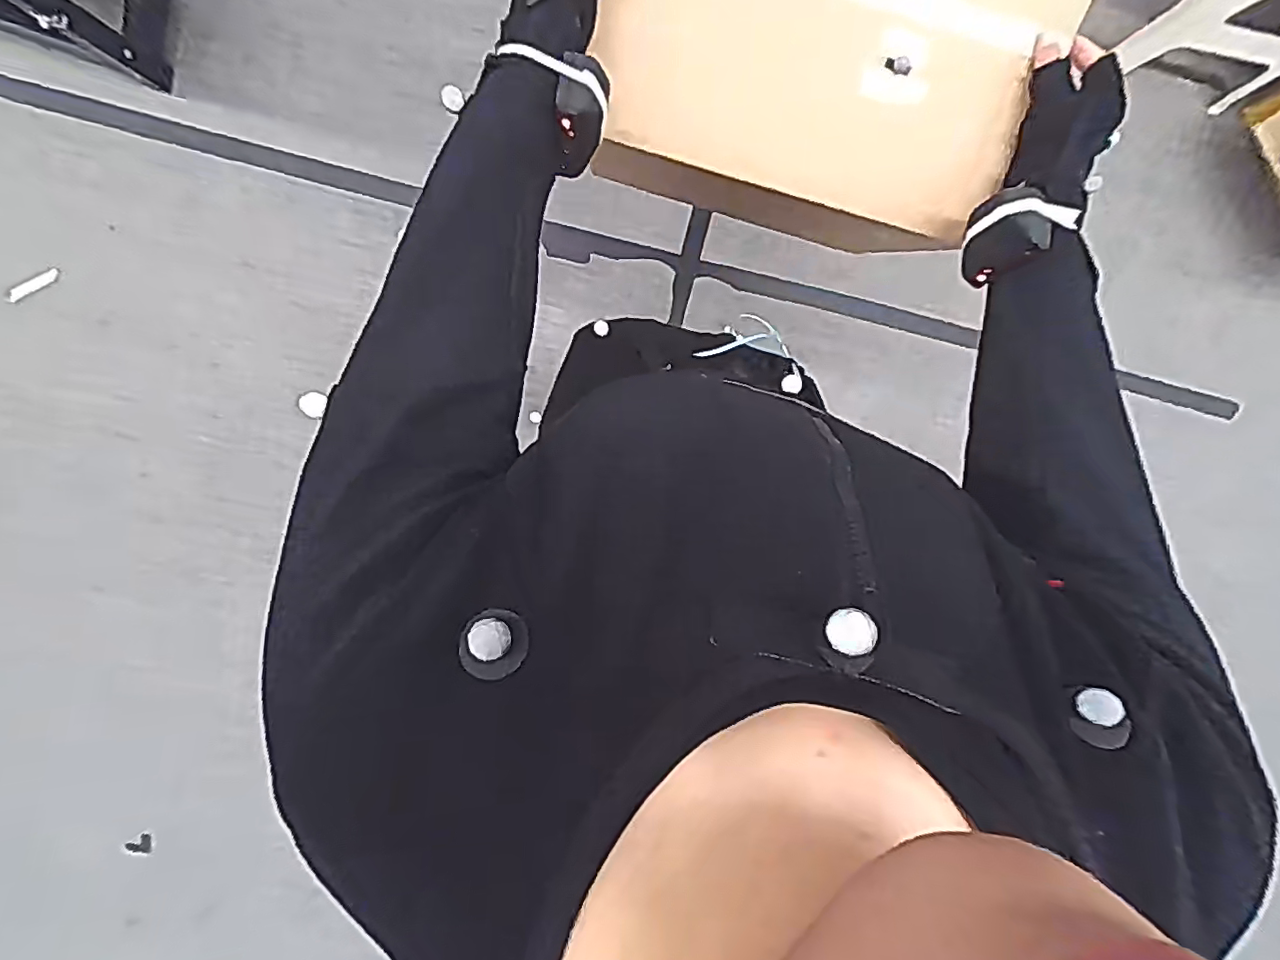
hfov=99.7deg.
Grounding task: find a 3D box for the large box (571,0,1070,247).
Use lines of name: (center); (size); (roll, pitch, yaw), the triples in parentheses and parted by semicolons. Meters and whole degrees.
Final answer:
large box: (0.159, -0.469, 0.592); (0.408, 0.320, 0.320); (13, 112, -6)
